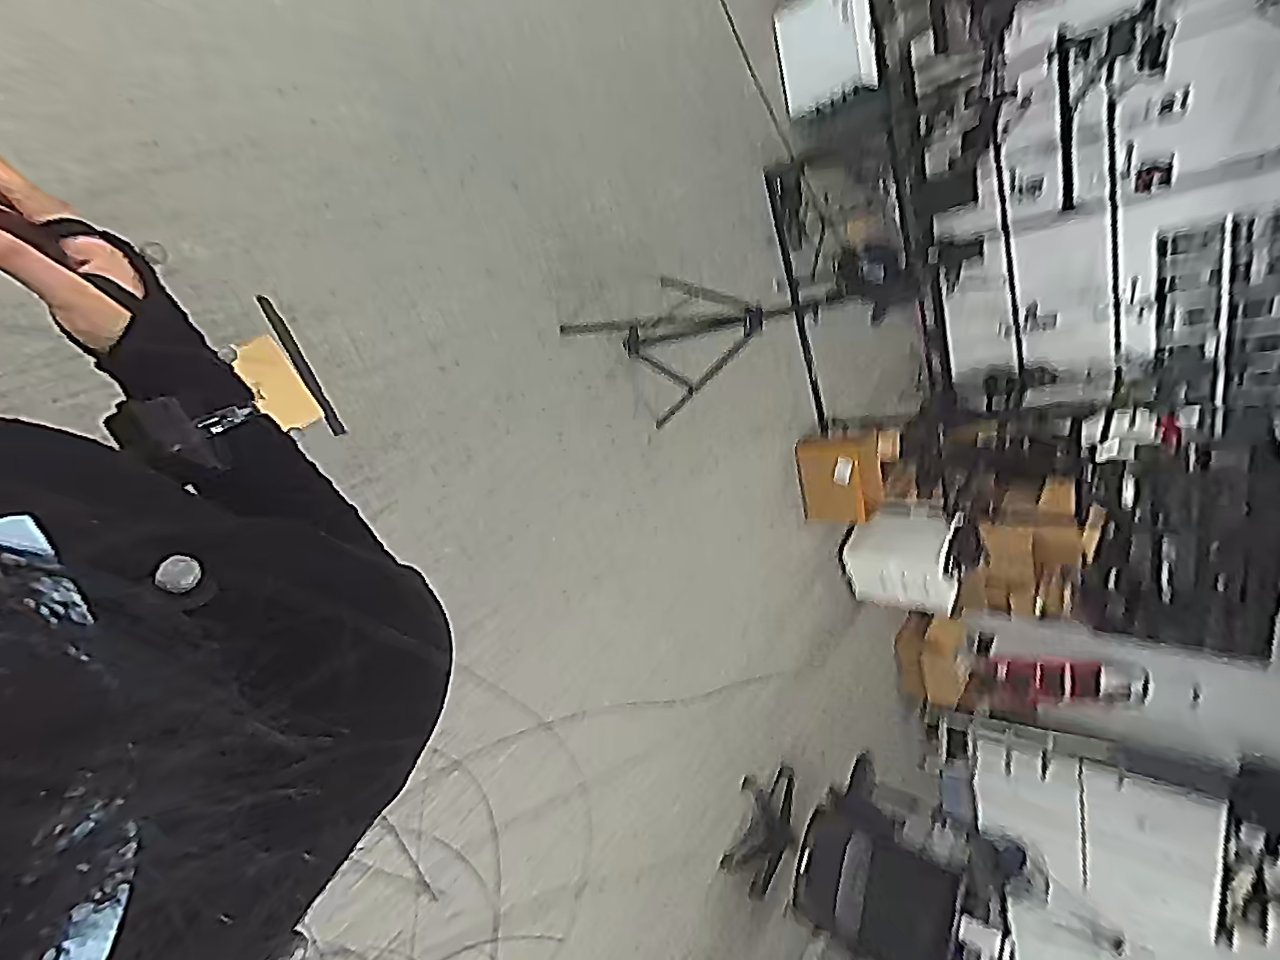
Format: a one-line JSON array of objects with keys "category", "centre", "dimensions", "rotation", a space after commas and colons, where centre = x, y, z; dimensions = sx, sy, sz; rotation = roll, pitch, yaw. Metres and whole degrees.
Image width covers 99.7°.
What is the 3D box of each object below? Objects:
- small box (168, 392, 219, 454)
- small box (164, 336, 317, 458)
[{"category": "small box", "centre": [-0.882, -0.159, 1.171], "dimensions": [0.179, 0.176, 0.168], "rotation": [-33, 114, -41]}, {"category": "small box", "centre": [-0.774, -0.157, 1.049], "dimensions": [0.168, 0.176, 0.179], "rotation": [-42, 118, -36]}]
